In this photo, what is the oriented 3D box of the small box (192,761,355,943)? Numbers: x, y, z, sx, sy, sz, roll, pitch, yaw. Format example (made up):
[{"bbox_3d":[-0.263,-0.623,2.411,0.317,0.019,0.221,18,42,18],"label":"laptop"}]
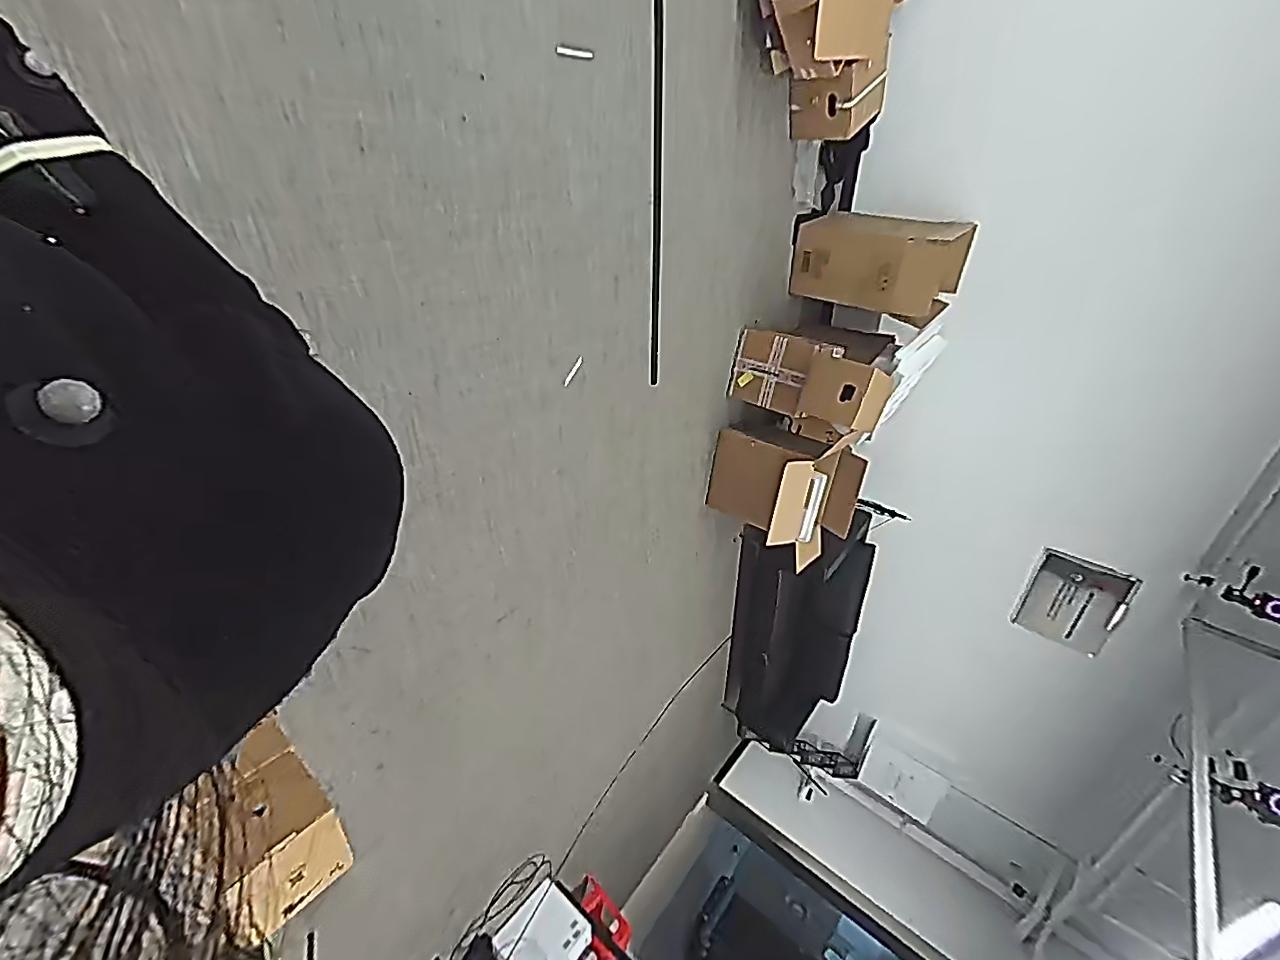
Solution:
[{"bbox_3d":[-0.635,0.629,0.942,0.168,0.176,0.179,-29,130,-45],"label":"small box"}]

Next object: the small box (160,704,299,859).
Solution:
[{"bbox_3d":[-0.763,0.568,1.025,0.168,0.176,0.179,-27,129,-47],"label":"small box"}]
